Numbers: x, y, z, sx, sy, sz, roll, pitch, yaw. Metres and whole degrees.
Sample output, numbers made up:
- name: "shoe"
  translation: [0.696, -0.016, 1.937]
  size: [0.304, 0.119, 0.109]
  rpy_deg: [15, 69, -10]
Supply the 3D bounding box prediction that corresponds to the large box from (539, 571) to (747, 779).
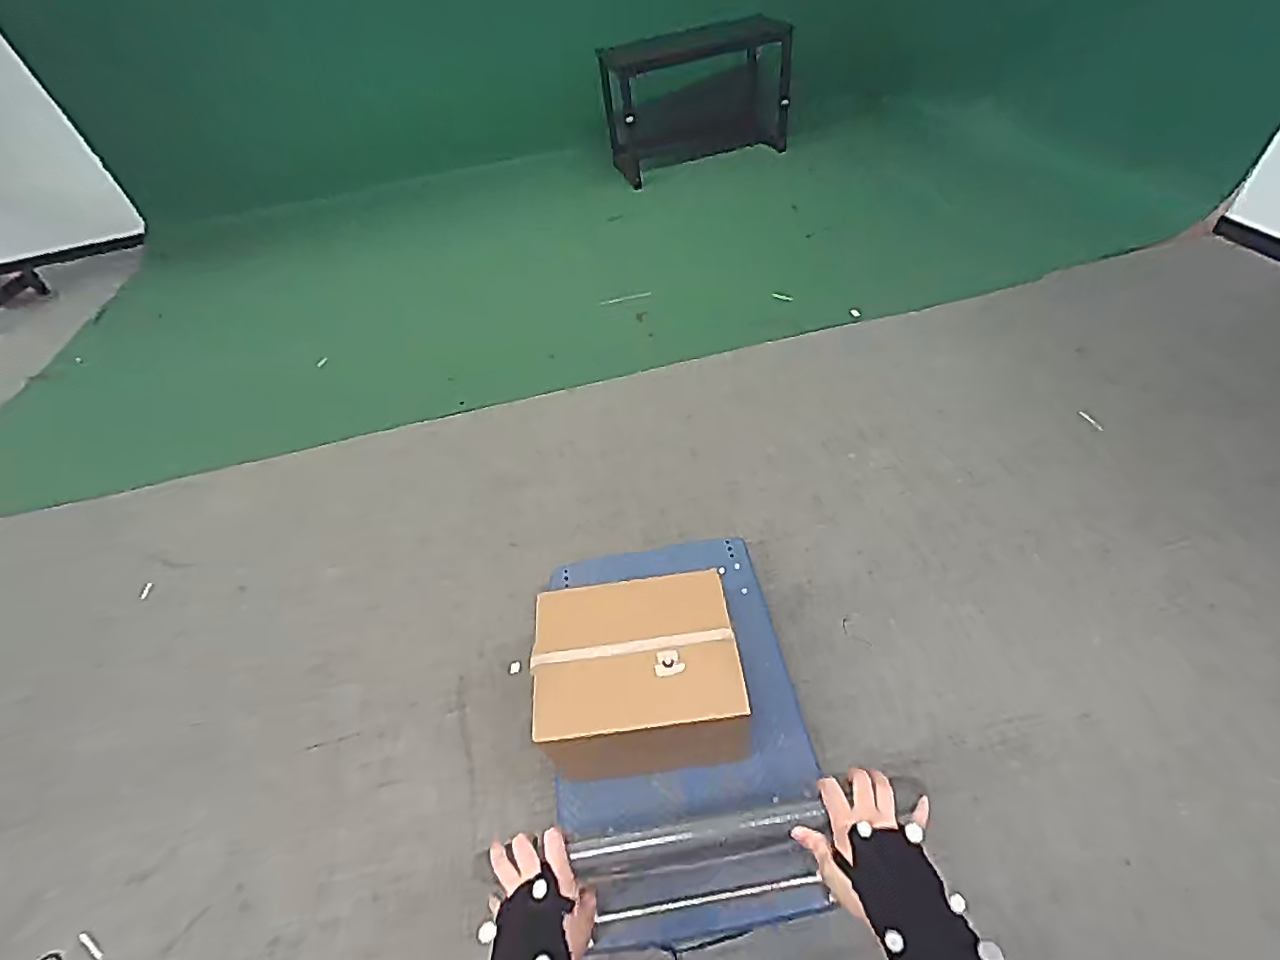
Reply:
- name: "large box"
  translation: [0.002, 0.442, 1.217]
  size: [0.408, 0.320, 0.320]
  rpy_deg: [-8, 48, 0]
